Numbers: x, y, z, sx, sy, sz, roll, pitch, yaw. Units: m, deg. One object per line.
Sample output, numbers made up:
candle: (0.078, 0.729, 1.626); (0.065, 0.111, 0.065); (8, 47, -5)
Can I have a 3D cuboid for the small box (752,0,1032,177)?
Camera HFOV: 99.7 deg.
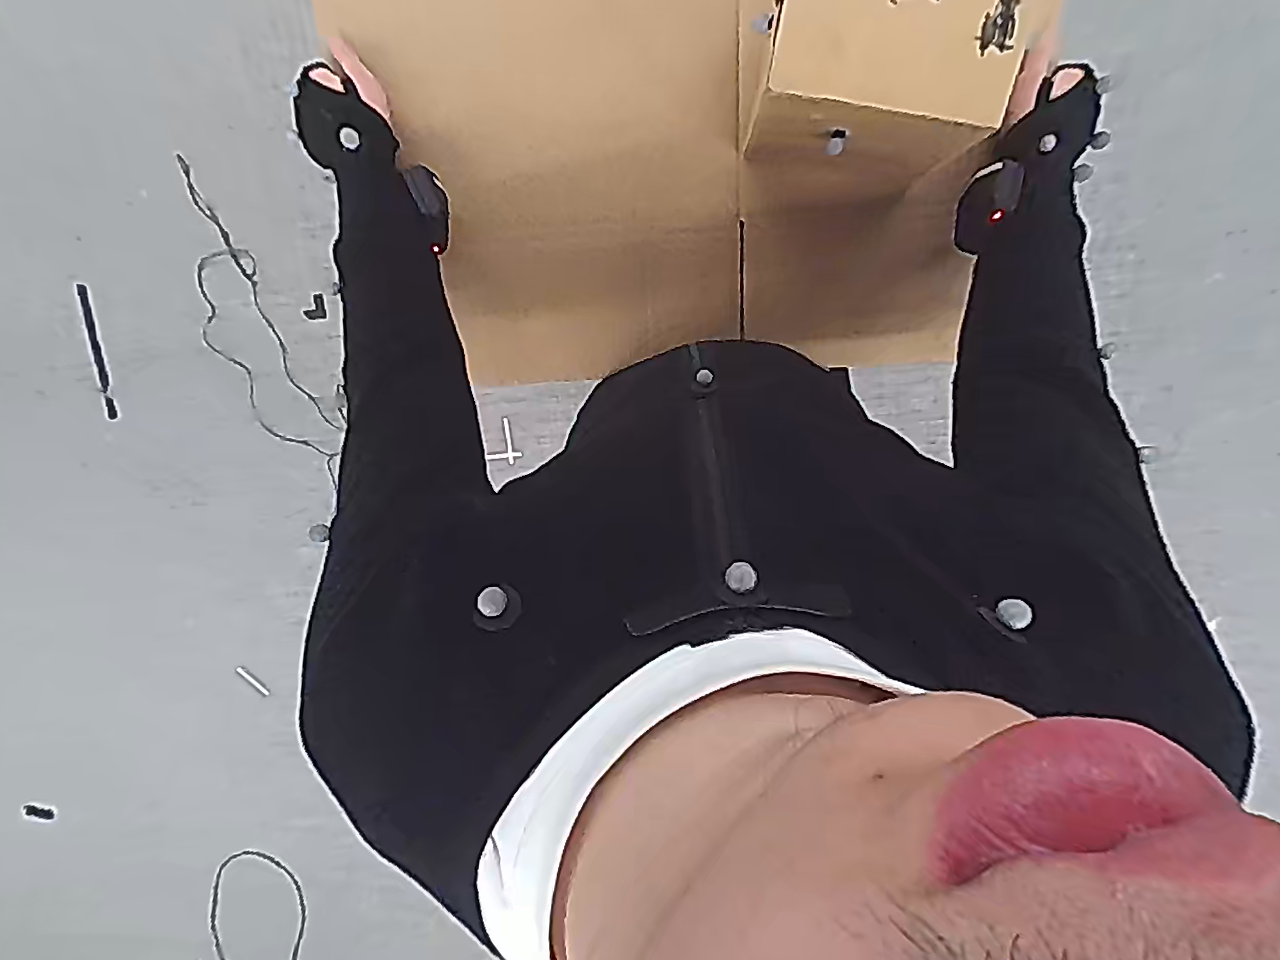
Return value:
small box: (0.200, -0.377, 0.458); (0.179, 0.176, 0.168); (11, 107, 4)
